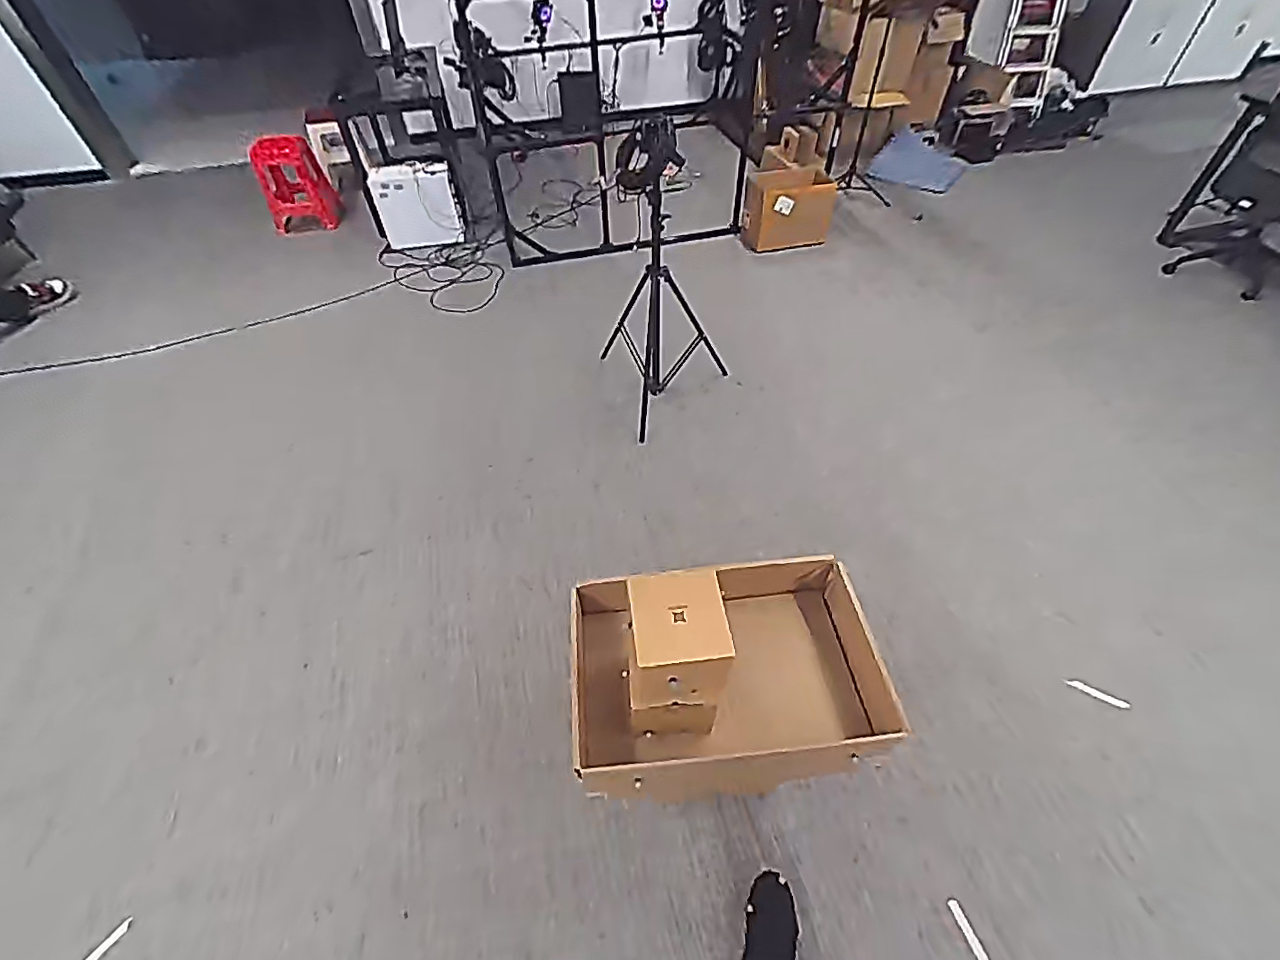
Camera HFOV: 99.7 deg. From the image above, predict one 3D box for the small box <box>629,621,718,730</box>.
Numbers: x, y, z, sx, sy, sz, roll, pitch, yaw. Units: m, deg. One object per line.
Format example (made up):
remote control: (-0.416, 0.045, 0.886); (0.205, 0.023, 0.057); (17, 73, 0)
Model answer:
small box: (0.064, 0.404, 1.115); (0.168, 0.176, 0.179); (-3, 47, -1)

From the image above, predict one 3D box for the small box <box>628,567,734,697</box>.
small box: (0.069, 0.286, 1.001); (0.168, 0.176, 0.179); (-6, 48, -4)
